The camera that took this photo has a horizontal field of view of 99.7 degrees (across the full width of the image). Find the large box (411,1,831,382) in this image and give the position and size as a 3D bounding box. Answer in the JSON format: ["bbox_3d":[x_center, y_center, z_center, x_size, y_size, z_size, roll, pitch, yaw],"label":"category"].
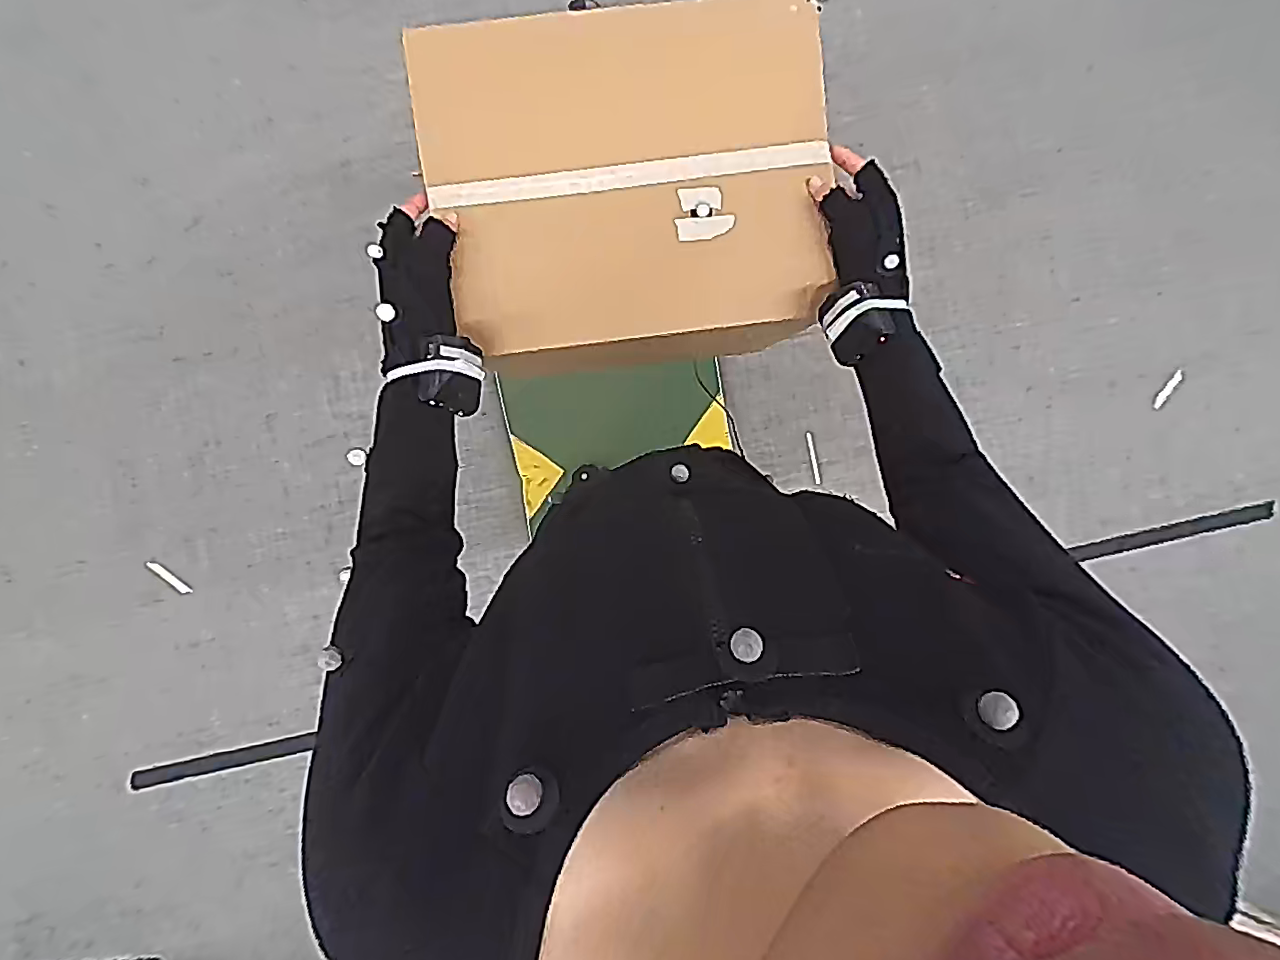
[{"bbox_3d":[-0.021,-0.322,0.706,0.408,0.320,0.320,-8,96,-3],"label":"large box"}]
